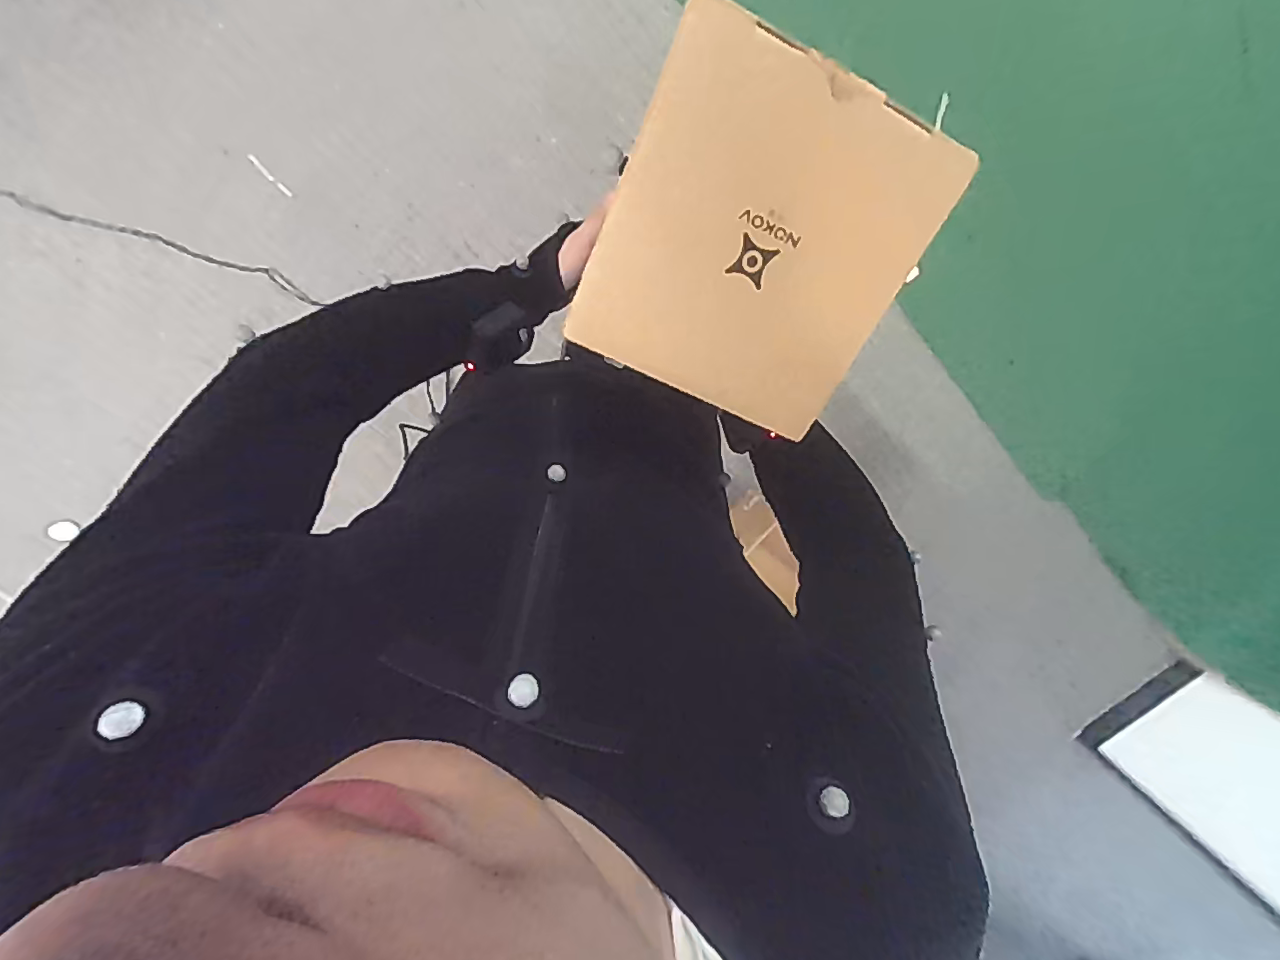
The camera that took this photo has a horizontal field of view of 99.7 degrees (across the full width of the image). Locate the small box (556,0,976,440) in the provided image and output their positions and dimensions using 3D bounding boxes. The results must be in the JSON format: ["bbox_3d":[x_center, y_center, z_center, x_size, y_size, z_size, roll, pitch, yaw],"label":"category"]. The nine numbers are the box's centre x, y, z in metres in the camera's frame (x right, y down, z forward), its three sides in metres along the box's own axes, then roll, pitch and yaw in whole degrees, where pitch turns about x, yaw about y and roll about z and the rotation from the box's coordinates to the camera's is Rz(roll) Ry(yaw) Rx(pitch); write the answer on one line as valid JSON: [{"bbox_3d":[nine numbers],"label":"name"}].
[{"bbox_3d":[0.060,-0.158,0.357,0.168,0.176,0.179,21,114,-11],"label":"small box"}]
